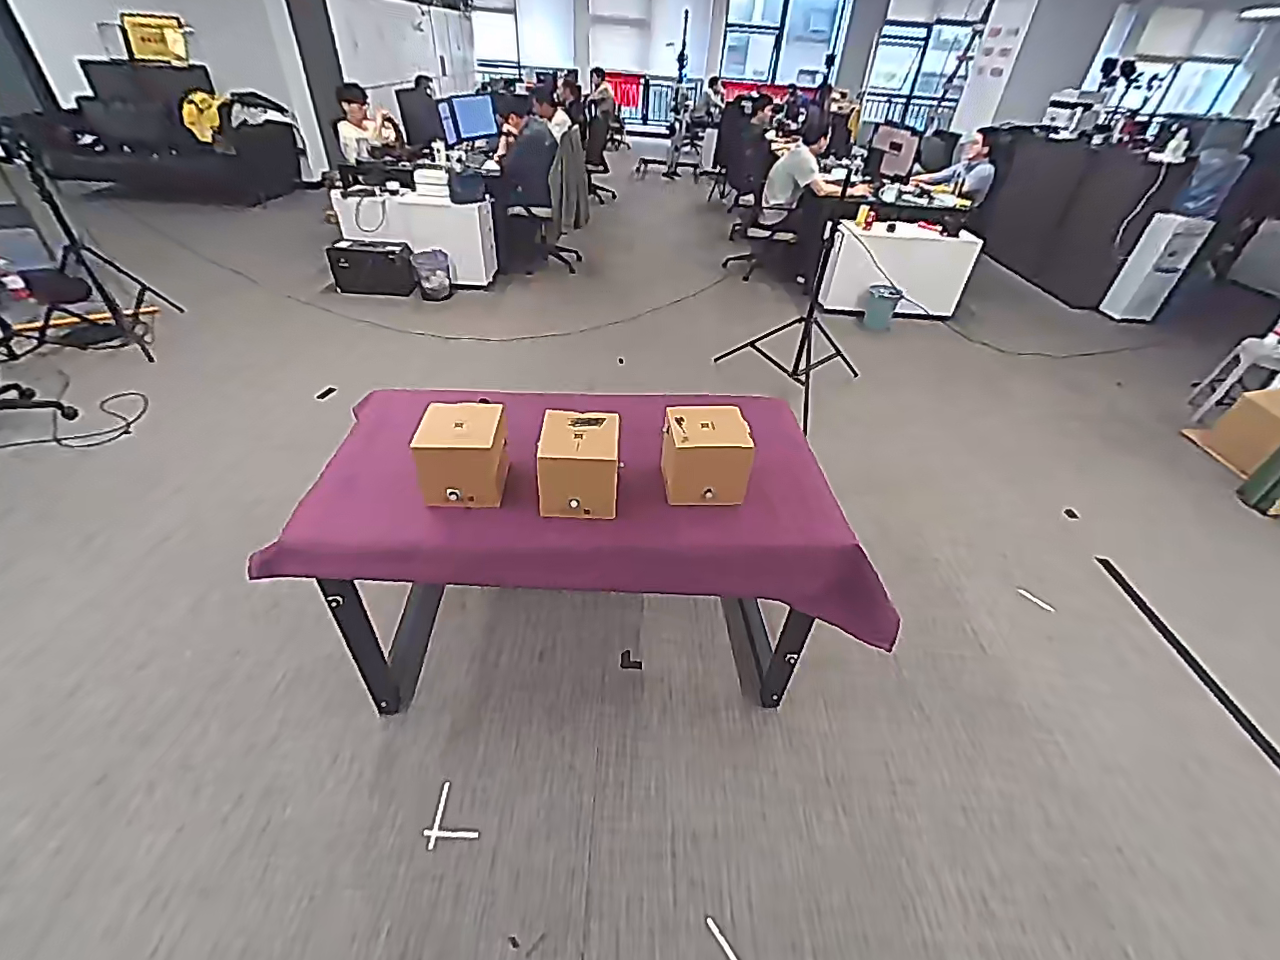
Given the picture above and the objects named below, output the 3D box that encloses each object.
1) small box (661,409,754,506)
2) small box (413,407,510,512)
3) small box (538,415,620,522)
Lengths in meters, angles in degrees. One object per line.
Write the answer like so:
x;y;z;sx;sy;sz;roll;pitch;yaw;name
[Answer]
0.150;-0.050;1.268;0.179;0.176;0.168;0;38;-6;small box
-0.391;-0.047;1.218;0.168;0.176;0.179;-1;39;-4;small box
-0.133;-0.027;1.213;0.168;0.176;0.179;2;39;-3;small box
